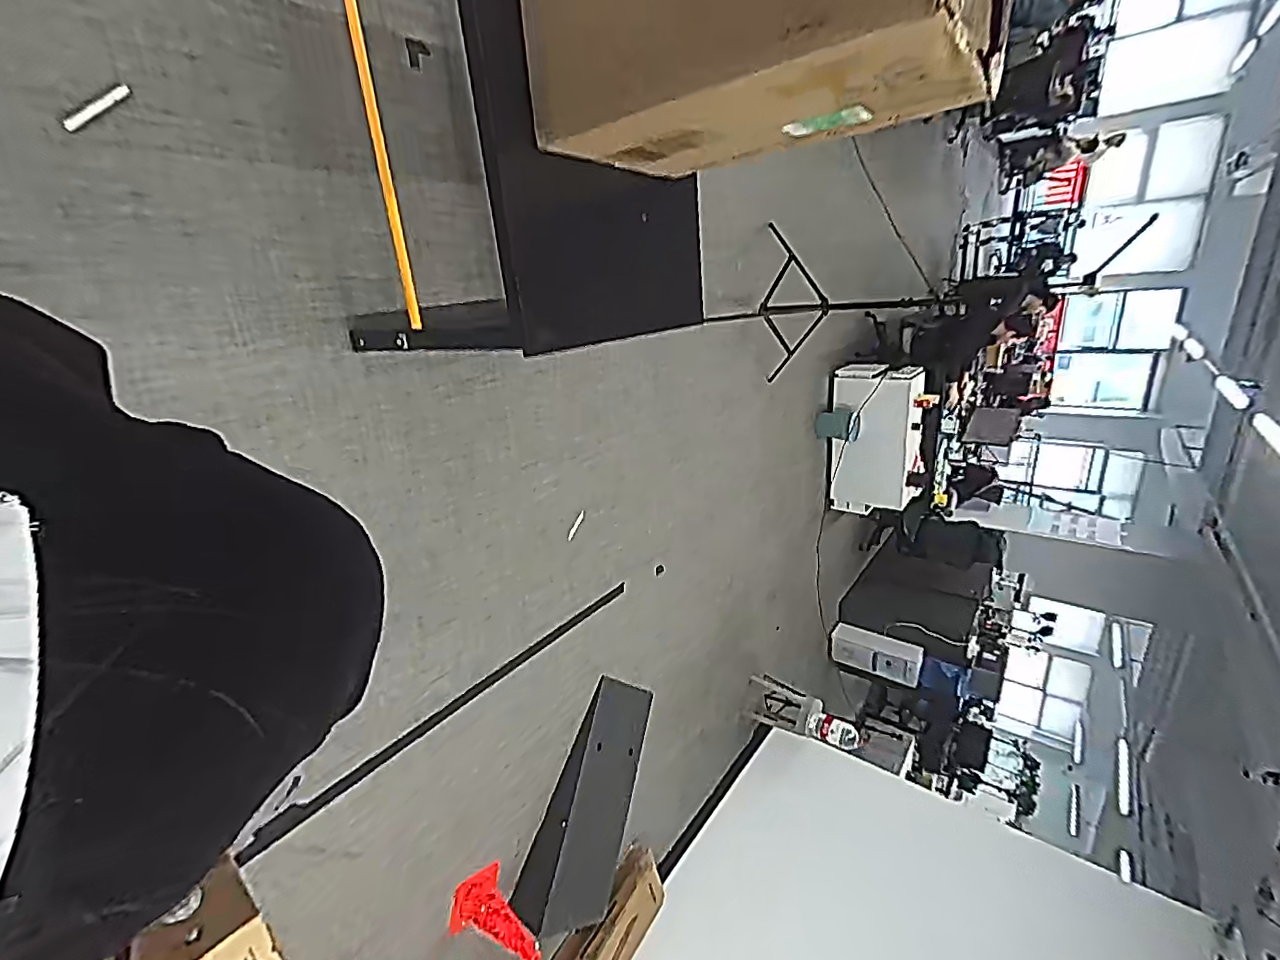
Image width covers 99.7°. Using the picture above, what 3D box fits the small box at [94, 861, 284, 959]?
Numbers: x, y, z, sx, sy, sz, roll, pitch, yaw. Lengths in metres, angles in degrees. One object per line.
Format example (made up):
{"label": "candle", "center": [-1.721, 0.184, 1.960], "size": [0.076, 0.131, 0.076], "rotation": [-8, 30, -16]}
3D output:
{"label": "small box", "center": [-0.693, 0.756, 0.843], "size": [0.179, 0.176, 0.168], "rotation": [-26, 119, -46]}
